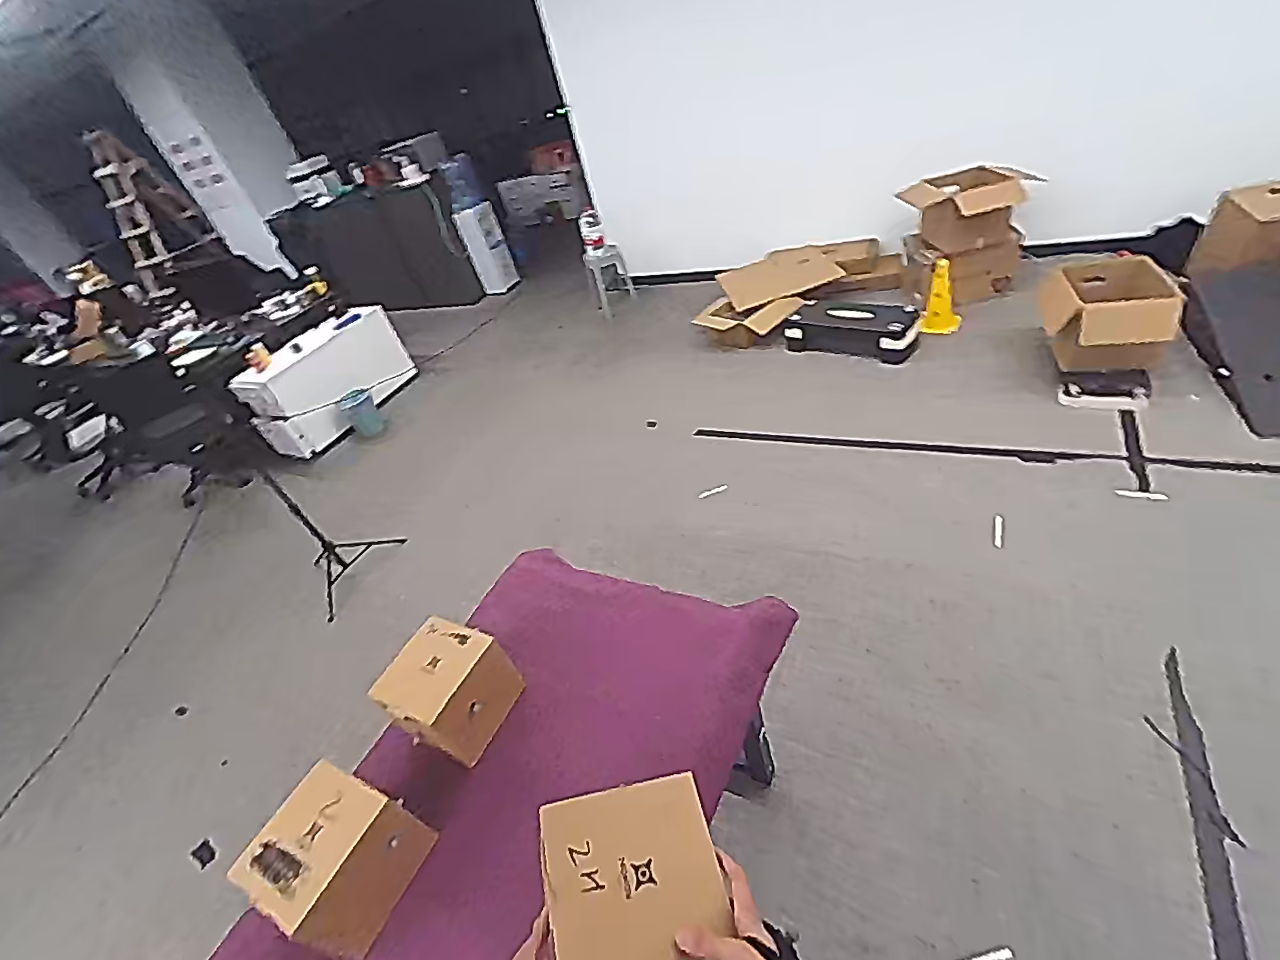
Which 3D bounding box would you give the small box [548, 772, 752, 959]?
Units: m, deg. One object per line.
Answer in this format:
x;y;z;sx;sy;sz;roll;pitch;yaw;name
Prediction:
-0.006;0.448;0.586;0.179;0.176;0.168;-5;43;-14;small box

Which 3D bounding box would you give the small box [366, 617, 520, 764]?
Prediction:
-0.351;0.389;0.999;0.168;0.176;0.179;10;47;28;small box
